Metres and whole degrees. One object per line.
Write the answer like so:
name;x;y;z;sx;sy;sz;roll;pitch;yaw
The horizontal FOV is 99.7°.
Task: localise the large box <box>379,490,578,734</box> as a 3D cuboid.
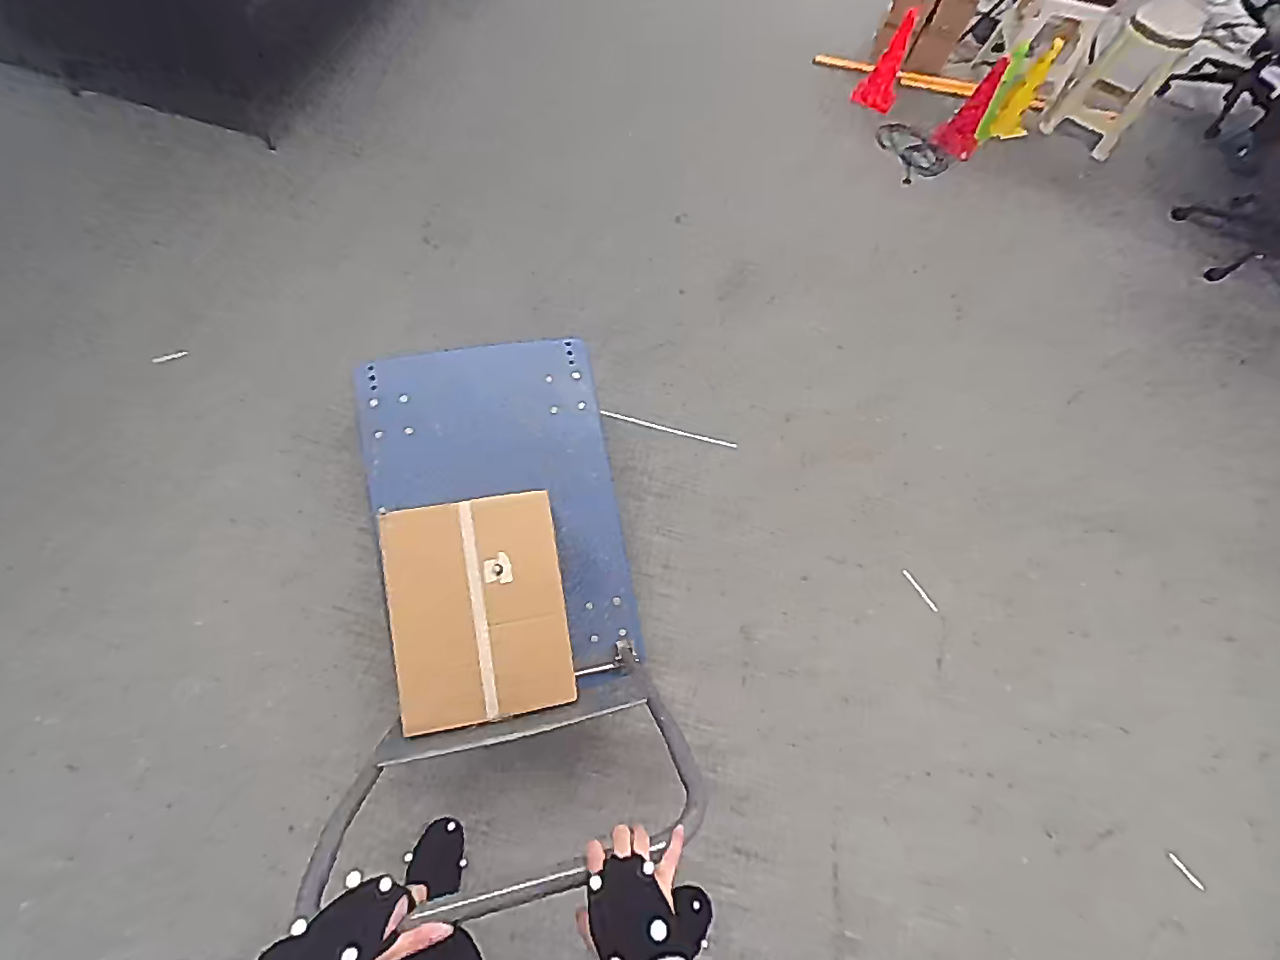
large box;-0.323;0.257;1.154;0.320;0.320;0.408;-9;84;-11
